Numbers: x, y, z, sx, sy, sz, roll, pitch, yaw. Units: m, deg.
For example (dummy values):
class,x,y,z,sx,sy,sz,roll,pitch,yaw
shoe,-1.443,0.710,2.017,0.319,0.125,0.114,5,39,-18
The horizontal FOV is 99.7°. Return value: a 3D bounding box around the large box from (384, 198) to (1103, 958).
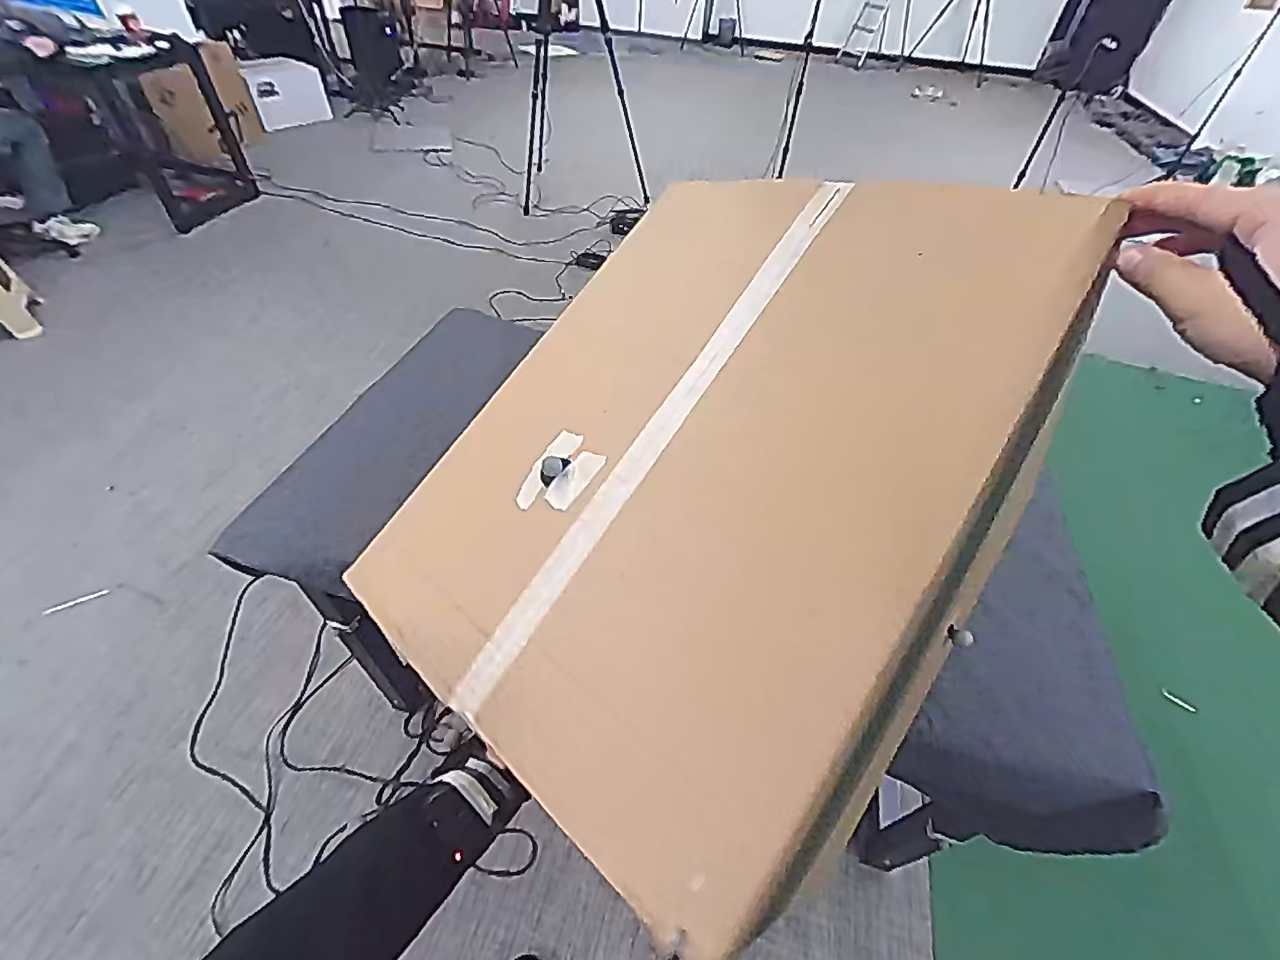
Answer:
class,x,y,z,sx,sy,sz,roll,pitch,yaw
large box,0.094,0.041,0.456,0.320,0.320,0.408,25,75,35
